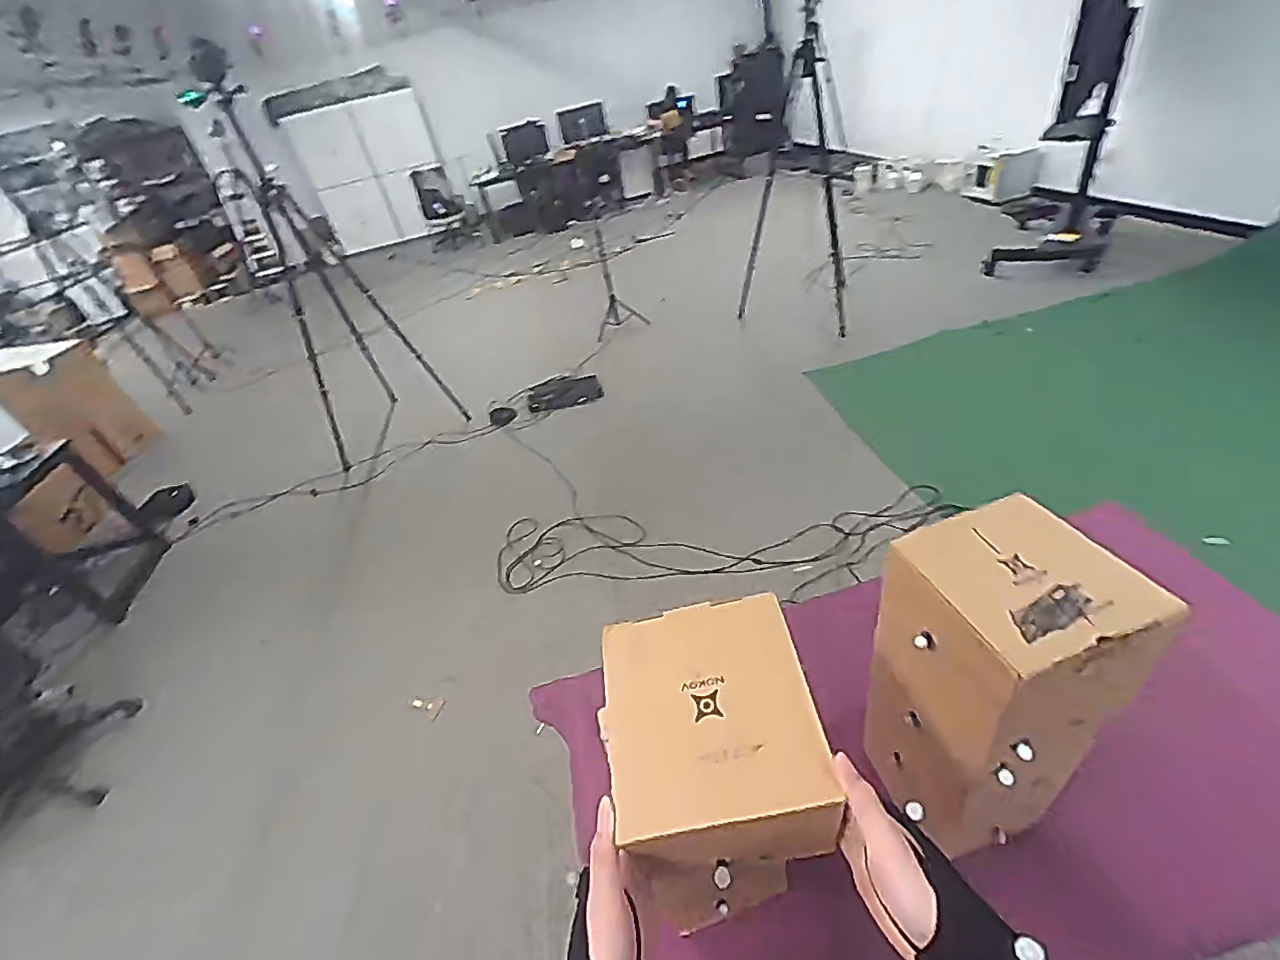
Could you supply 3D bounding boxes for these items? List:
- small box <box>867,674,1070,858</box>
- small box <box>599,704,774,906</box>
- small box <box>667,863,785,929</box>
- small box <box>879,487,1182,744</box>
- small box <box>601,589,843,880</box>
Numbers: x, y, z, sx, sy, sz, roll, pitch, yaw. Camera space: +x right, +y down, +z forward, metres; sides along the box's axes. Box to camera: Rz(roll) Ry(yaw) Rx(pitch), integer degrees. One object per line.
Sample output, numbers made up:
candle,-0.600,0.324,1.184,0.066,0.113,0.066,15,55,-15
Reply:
small box,0.441,0.388,0.764,0.168,0.176,0.179,-18,38,-5
small box,0.061,0.363,0.652,0.168,0.176,0.179,-18,38,-6
small box,0.090,0.481,0.762,0.168,0.176,0.179,-20,38,-7
small box,0.372,0.142,0.557,0.168,0.176,0.179,-18,36,-6
small box,0.066,0.228,0.484,0.168,0.176,0.179,-13,45,4
